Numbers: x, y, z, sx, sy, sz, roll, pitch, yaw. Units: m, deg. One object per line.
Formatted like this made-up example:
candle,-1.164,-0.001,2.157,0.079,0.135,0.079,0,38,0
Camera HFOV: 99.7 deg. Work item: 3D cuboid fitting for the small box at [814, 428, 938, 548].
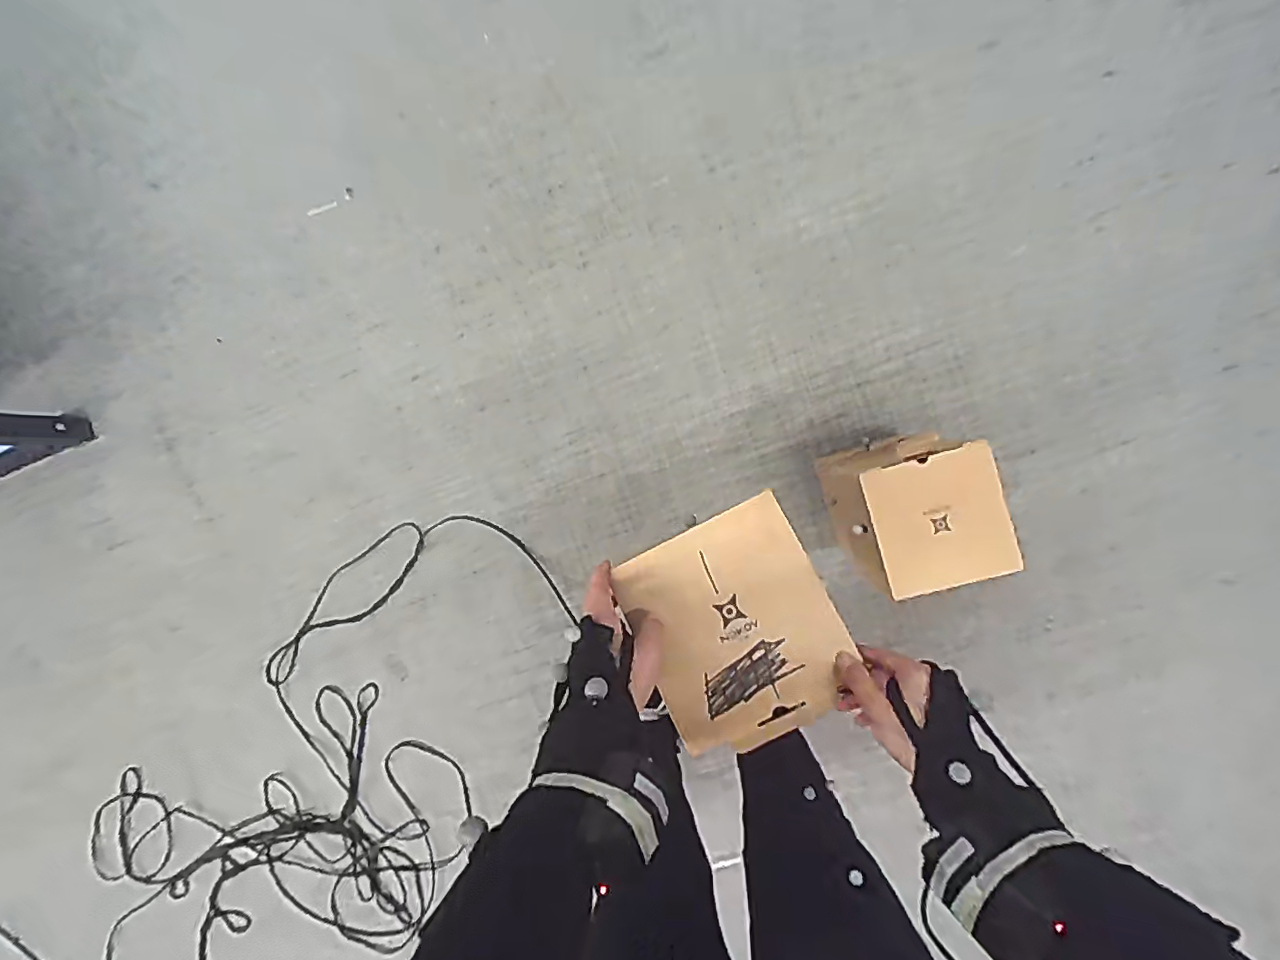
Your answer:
small box,0.416,0.021,0.934,0.168,0.176,0.179,-16,90,7

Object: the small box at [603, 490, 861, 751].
small box,0.085,0.124,0.538,0.168,0.176,0.179,-27,83,3

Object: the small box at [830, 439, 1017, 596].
small box,0.390,0.045,0.774,0.168,0.176,0.179,-16,90,7
